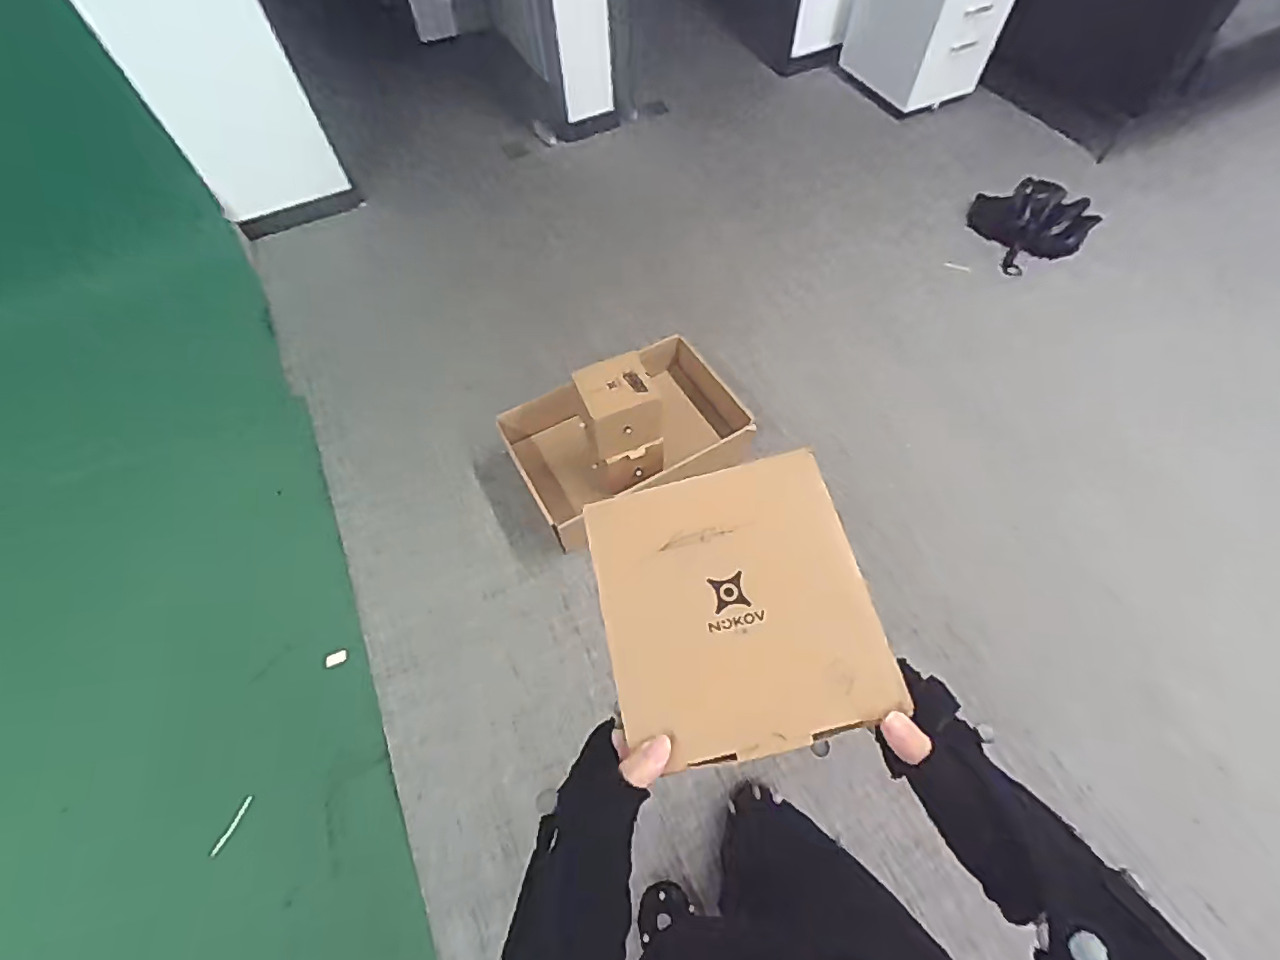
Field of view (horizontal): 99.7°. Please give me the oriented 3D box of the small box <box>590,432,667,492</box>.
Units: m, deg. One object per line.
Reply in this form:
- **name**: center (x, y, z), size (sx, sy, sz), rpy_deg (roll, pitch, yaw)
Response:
- **small box**: center (-0.032, -0.088, 1.500), size (0.168, 0.176, 0.179), rpy_deg (-21, 61, -11)

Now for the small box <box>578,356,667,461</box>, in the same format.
- **small box**: center (-0.043, -0.177, 1.362), size (0.179, 0.176, 0.168), rpy_deg (-20, 60, -9)
